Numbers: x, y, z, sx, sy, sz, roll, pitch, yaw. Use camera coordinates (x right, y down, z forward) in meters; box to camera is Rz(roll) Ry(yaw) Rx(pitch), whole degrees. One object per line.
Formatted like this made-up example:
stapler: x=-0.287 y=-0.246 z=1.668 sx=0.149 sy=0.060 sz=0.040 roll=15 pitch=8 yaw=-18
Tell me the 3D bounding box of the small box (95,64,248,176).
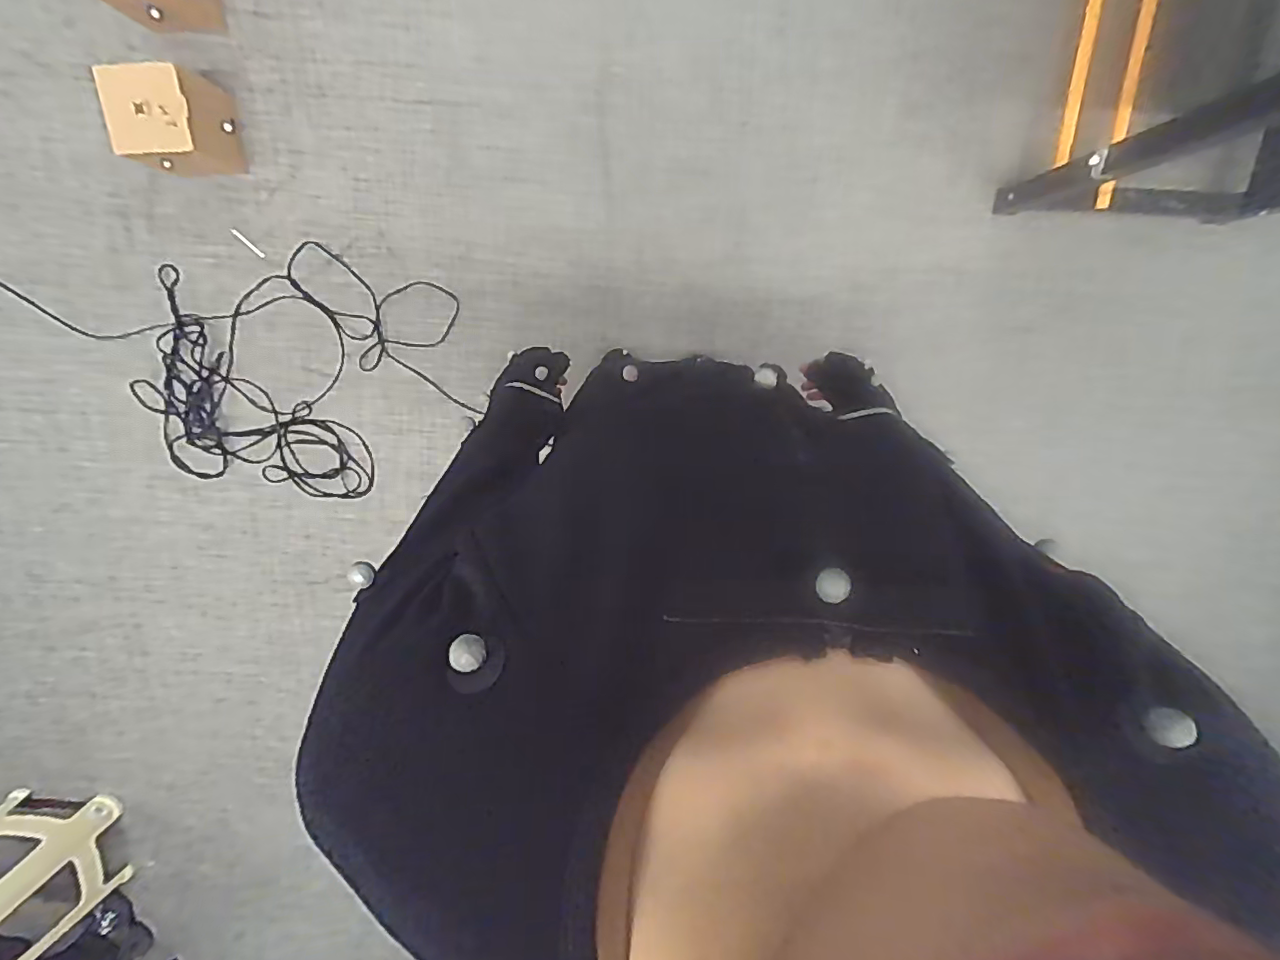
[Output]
small box: x=-1.033 y=-0.793 z=1.207 sx=0.179 sy=0.176 sz=0.168 roll=-3 pitch=105 yaw=0
